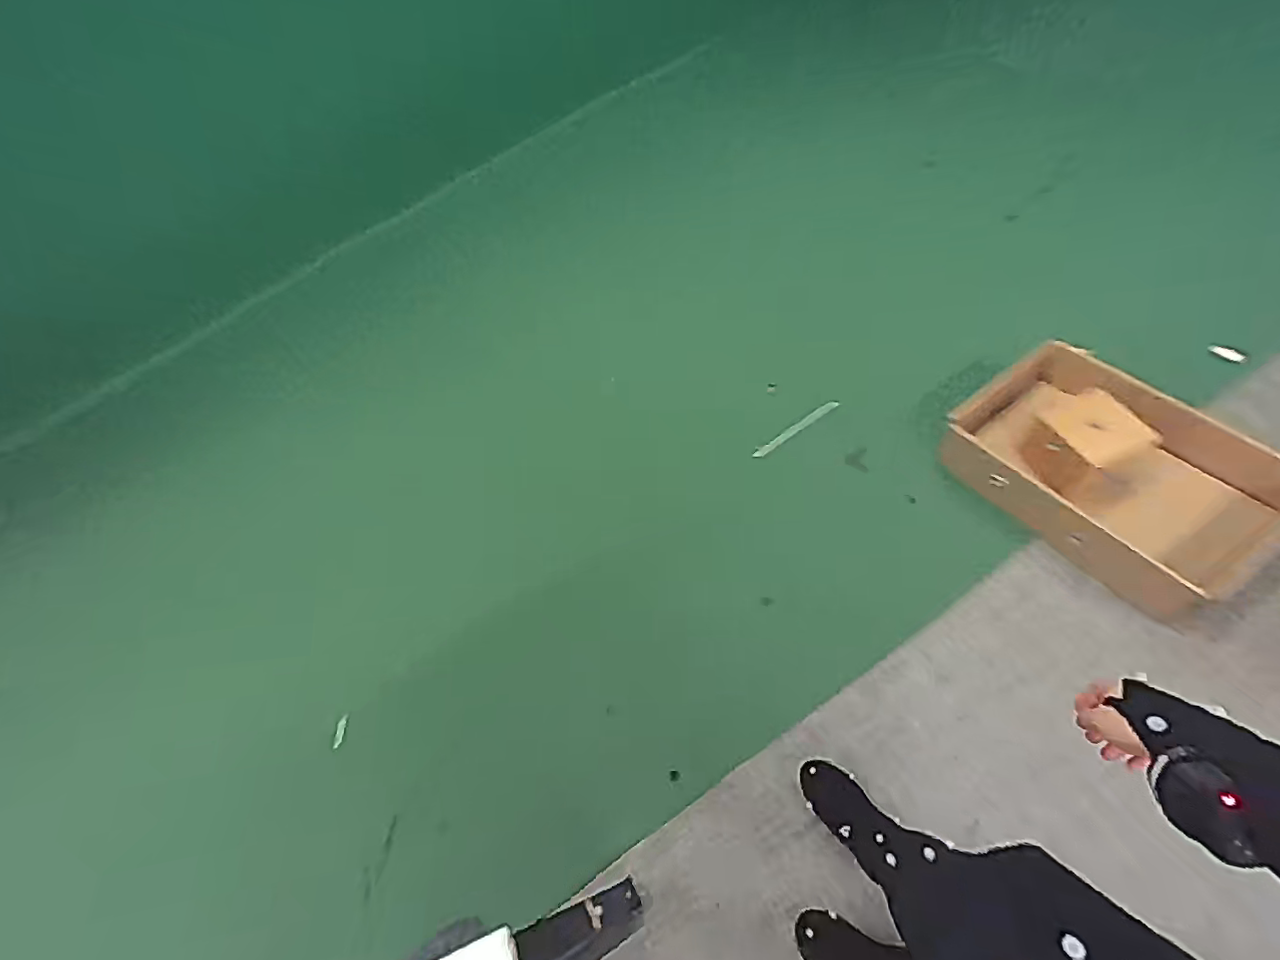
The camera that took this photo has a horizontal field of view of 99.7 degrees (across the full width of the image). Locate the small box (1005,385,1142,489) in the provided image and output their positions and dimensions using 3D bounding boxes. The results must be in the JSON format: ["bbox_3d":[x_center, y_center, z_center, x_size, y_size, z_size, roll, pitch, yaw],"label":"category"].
[{"bbox_3d":[1.074,-0.098,1.358,0.168,0.176,0.179,-25,57,-2],"label":"small box"}]
